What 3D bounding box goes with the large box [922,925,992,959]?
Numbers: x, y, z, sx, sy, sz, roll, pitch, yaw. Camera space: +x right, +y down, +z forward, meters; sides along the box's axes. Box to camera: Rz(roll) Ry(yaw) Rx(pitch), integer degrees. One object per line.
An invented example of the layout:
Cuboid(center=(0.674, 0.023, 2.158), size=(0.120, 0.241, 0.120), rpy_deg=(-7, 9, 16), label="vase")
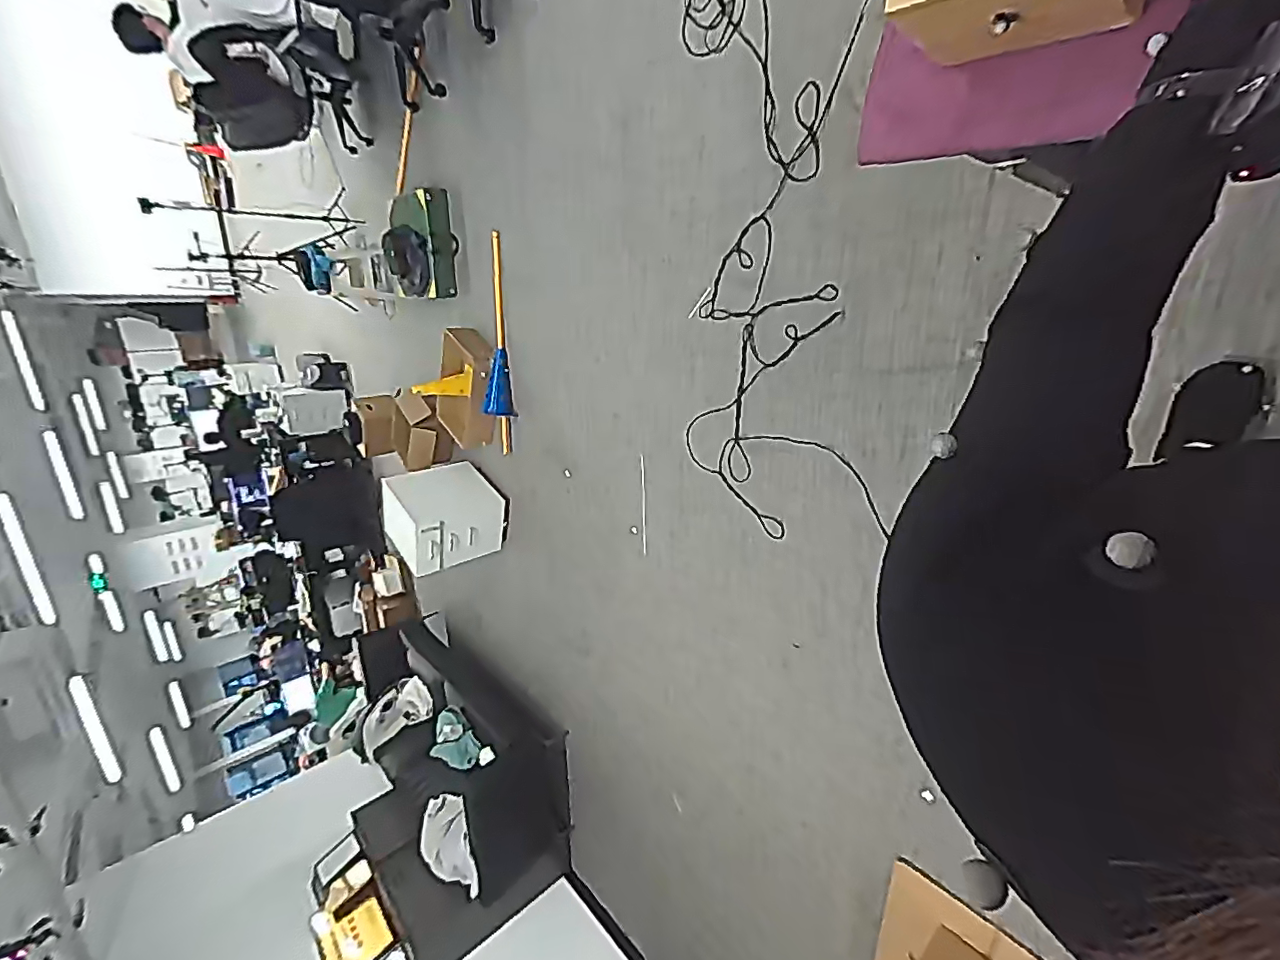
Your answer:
Cuboid(center=(0.986, 1.619, 1.524), size=(0.408, 0.320, 0.320), rpy_deg=(18, 115, 47), label="large box")
